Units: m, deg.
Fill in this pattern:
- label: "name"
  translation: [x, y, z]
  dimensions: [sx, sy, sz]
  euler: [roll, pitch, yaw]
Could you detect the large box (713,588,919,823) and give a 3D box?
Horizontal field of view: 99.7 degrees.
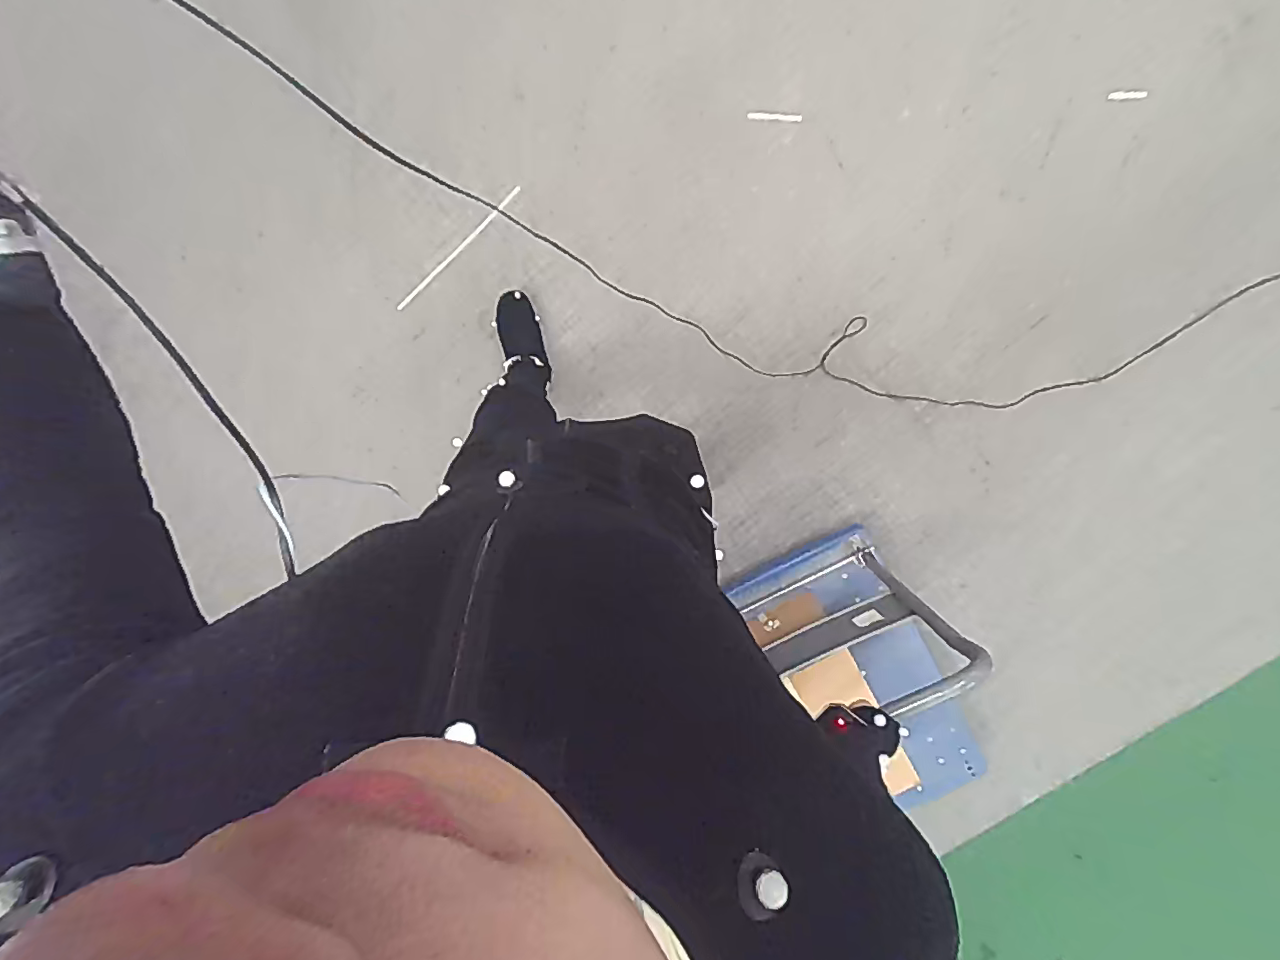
- label: "large box"
  translation: [0.431, 0.563, 1.405]
  dimensions: [0.320, 0.320, 0.408]
  euler: [-29, 100, 8]
